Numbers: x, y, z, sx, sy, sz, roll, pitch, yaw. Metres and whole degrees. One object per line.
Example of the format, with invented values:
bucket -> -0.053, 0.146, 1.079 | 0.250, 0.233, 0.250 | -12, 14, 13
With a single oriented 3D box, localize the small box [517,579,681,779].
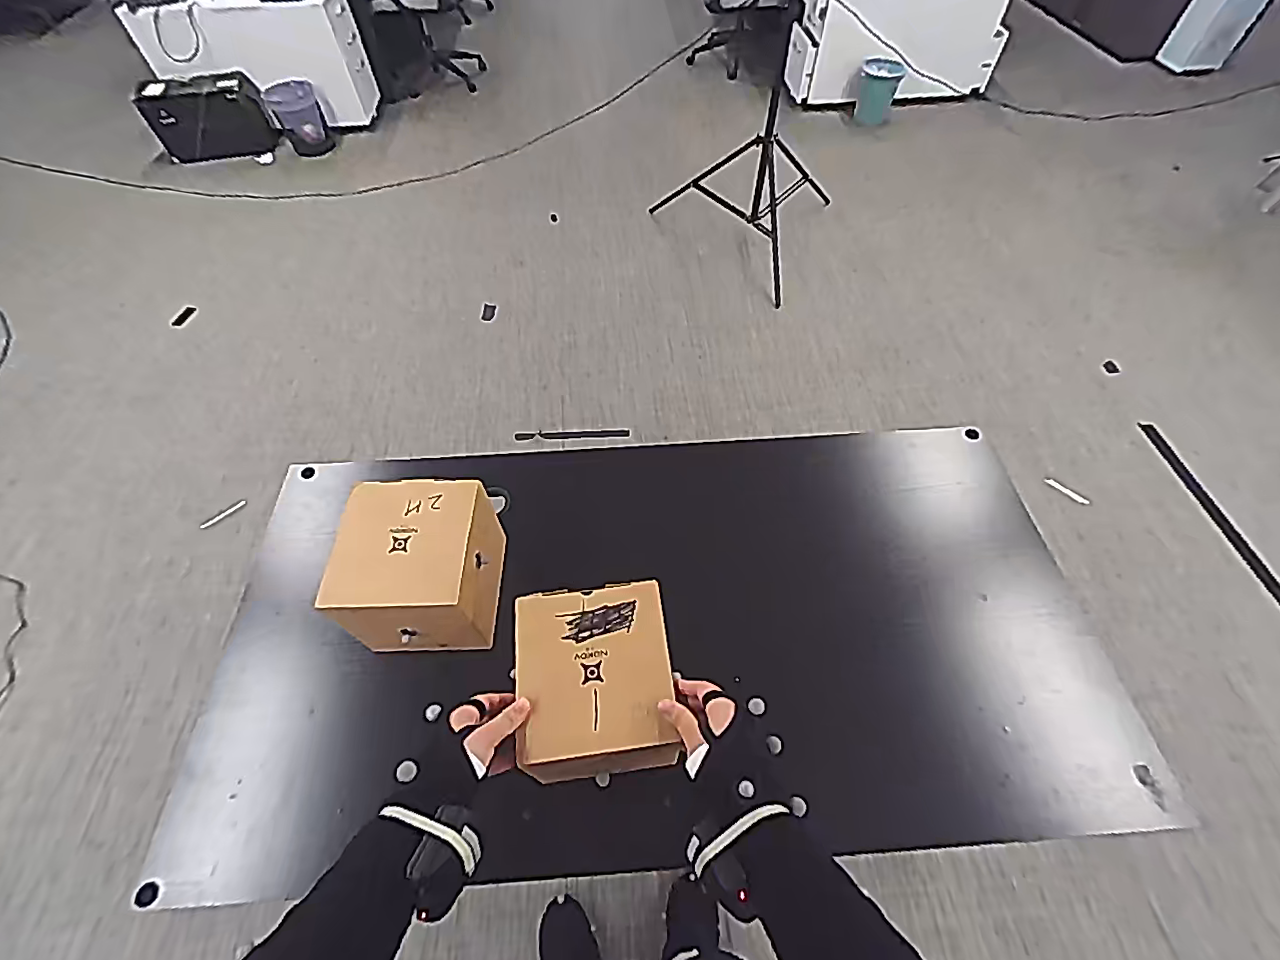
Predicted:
small box -> -0.049, 0.240, 0.644 | 0.168, 0.176, 0.179 | -7, 56, -3

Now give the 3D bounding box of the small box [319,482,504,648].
small box -> -0.289, 0.122, 0.732 | 0.168, 0.176, 0.179 | -2, 55, 0
